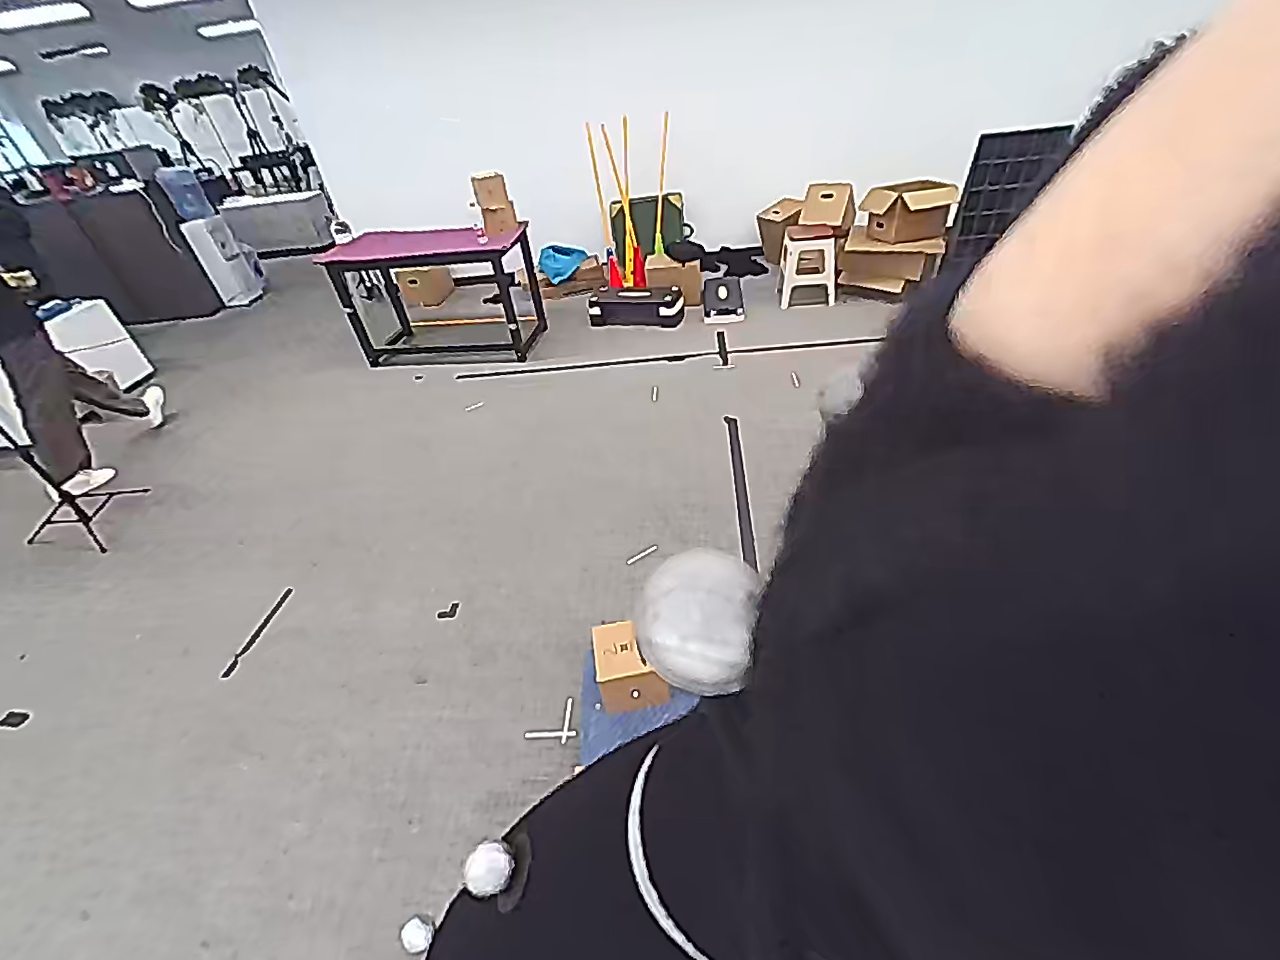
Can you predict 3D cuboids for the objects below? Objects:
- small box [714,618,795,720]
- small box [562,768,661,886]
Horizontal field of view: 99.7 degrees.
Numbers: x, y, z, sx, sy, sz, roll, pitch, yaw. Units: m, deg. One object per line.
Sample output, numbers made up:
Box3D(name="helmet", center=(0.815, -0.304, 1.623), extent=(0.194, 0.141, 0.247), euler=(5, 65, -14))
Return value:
Box3D(name="small box", center=(0.287, 0.487, 1.394), extent=(0.168, 0.176, 0.179), euler=(-9, 39, -1))
Box3D(name="small box", center=(-0.052, 0.735, 1.146), extent=(0.179, 0.176, 0.168), euler=(-2, 38, 6))
